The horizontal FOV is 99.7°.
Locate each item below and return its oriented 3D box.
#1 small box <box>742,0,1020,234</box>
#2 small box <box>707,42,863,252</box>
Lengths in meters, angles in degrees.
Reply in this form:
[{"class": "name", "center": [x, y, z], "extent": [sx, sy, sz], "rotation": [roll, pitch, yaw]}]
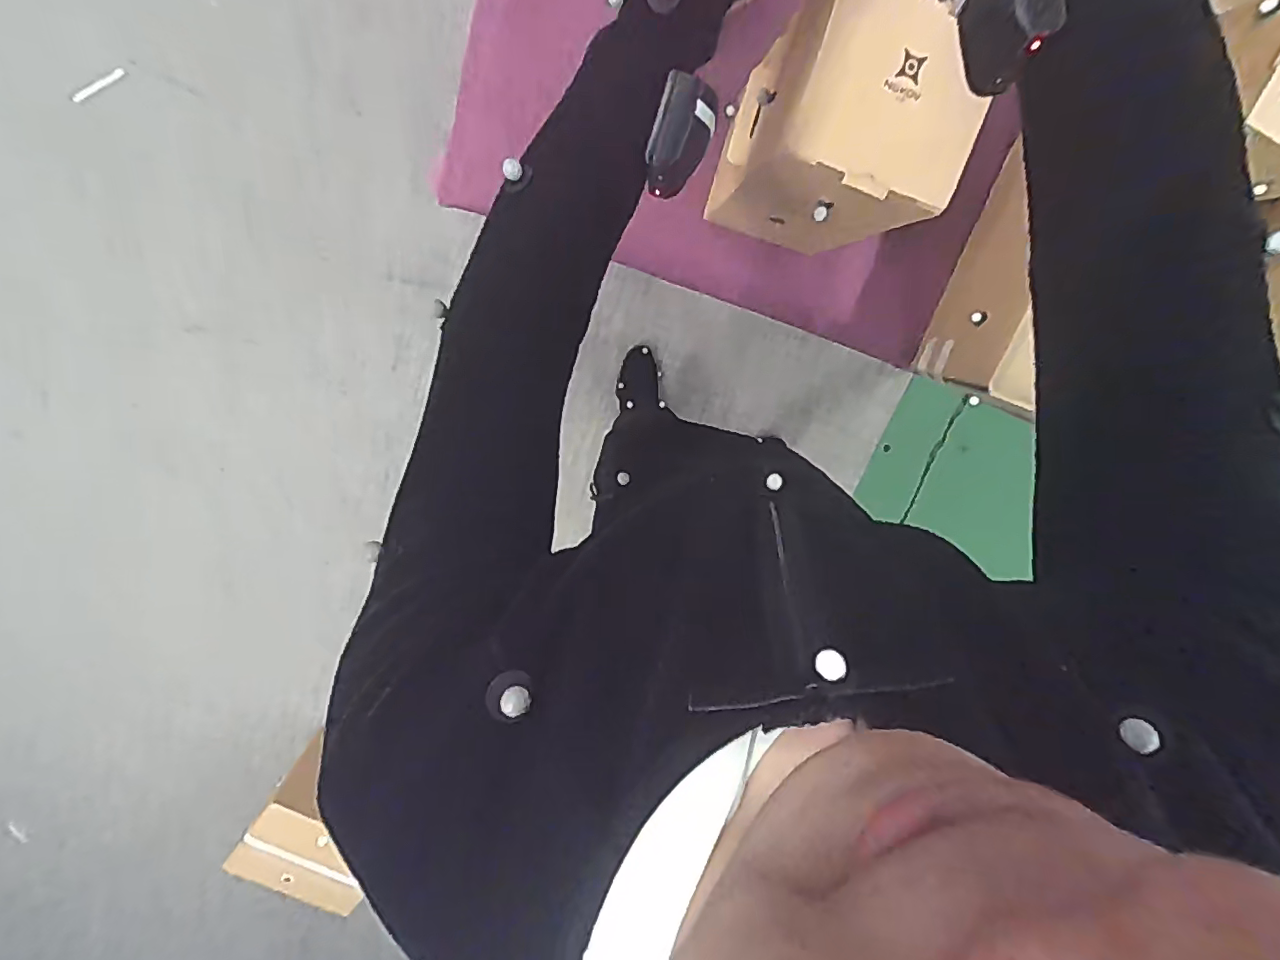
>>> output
[{"class": "small box", "center": [0.218, -0.369, 0.548], "extent": [0.168, 0.176, 0.179], "rotation": [15, 105, -11]}, {"class": "small box", "center": [0.202, -0.411, 0.705], "extent": [0.179, 0.176, 0.168], "rotation": [14, 105, -10]}]
